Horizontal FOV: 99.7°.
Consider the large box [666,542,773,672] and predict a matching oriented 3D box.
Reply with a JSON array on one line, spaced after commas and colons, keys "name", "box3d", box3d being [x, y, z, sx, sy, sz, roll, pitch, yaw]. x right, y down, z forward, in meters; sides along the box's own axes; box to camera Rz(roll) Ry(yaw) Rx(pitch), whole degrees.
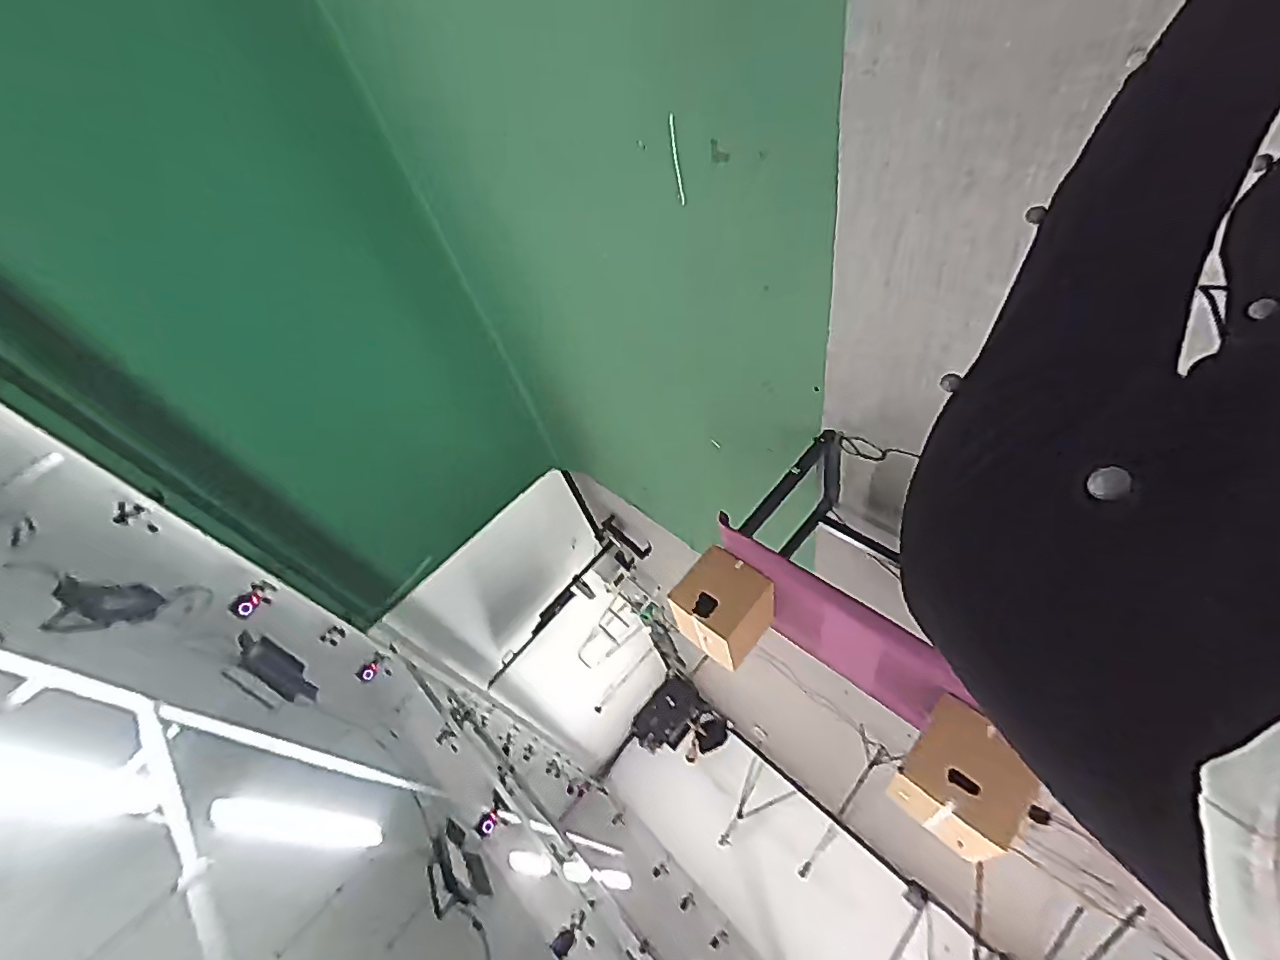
[{"name": "large box", "box3d": [0.355, 0.544, 2.314, 0.320, 0.320, 0.408, 31, 155, 32]}]
